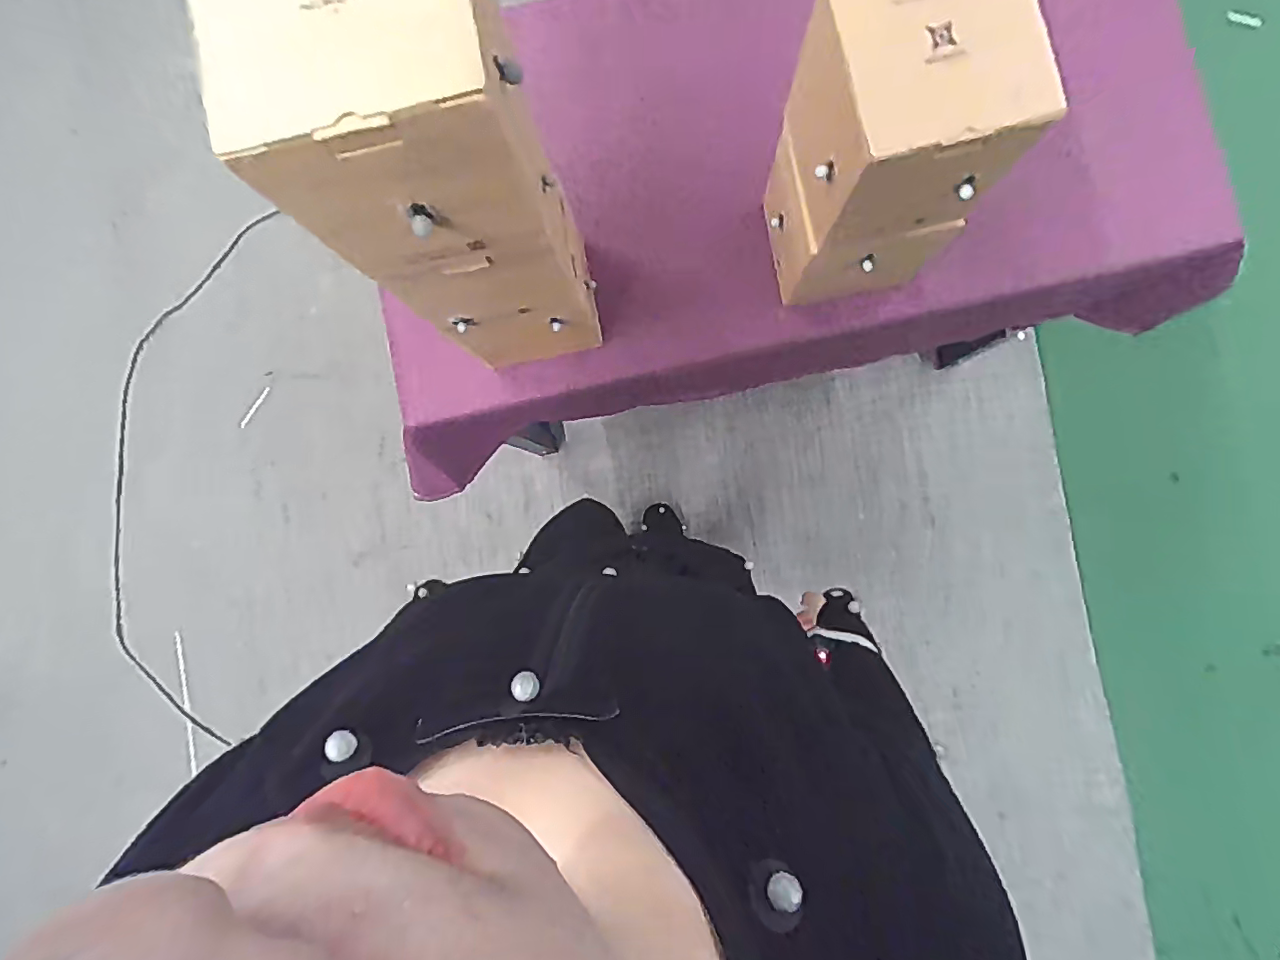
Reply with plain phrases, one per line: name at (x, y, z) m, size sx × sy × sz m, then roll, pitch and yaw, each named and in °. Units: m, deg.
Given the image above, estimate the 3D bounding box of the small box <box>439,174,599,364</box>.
small box at (-0.163, -0.267, 0.725) m, size 0.179 × 0.176 × 0.168 m, roll -12°, pitch 87°, yaw 2°

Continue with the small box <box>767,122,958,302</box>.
small box at (0.269, -0.348, 0.701) m, size 0.179 × 0.176 × 0.168 m, roll -10°, pitch 87°, yaw 3°

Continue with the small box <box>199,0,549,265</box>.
small box at (-0.174, -0.279, 0.397) m, size 0.168 × 0.176 × 0.179 m, roll -11°, pitch 87°, yaw 2°

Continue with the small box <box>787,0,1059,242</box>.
small box at (0.258, -0.361, 0.538) m, size 0.168 × 0.176 × 0.179 m, roll -12°, pitch 86°, yaw 2°

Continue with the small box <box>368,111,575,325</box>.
small box at (-0.171, -0.277, 0.562) m, size 0.168 × 0.176 × 0.179 m, roll -12°, pitch 85°, yaw 2°
